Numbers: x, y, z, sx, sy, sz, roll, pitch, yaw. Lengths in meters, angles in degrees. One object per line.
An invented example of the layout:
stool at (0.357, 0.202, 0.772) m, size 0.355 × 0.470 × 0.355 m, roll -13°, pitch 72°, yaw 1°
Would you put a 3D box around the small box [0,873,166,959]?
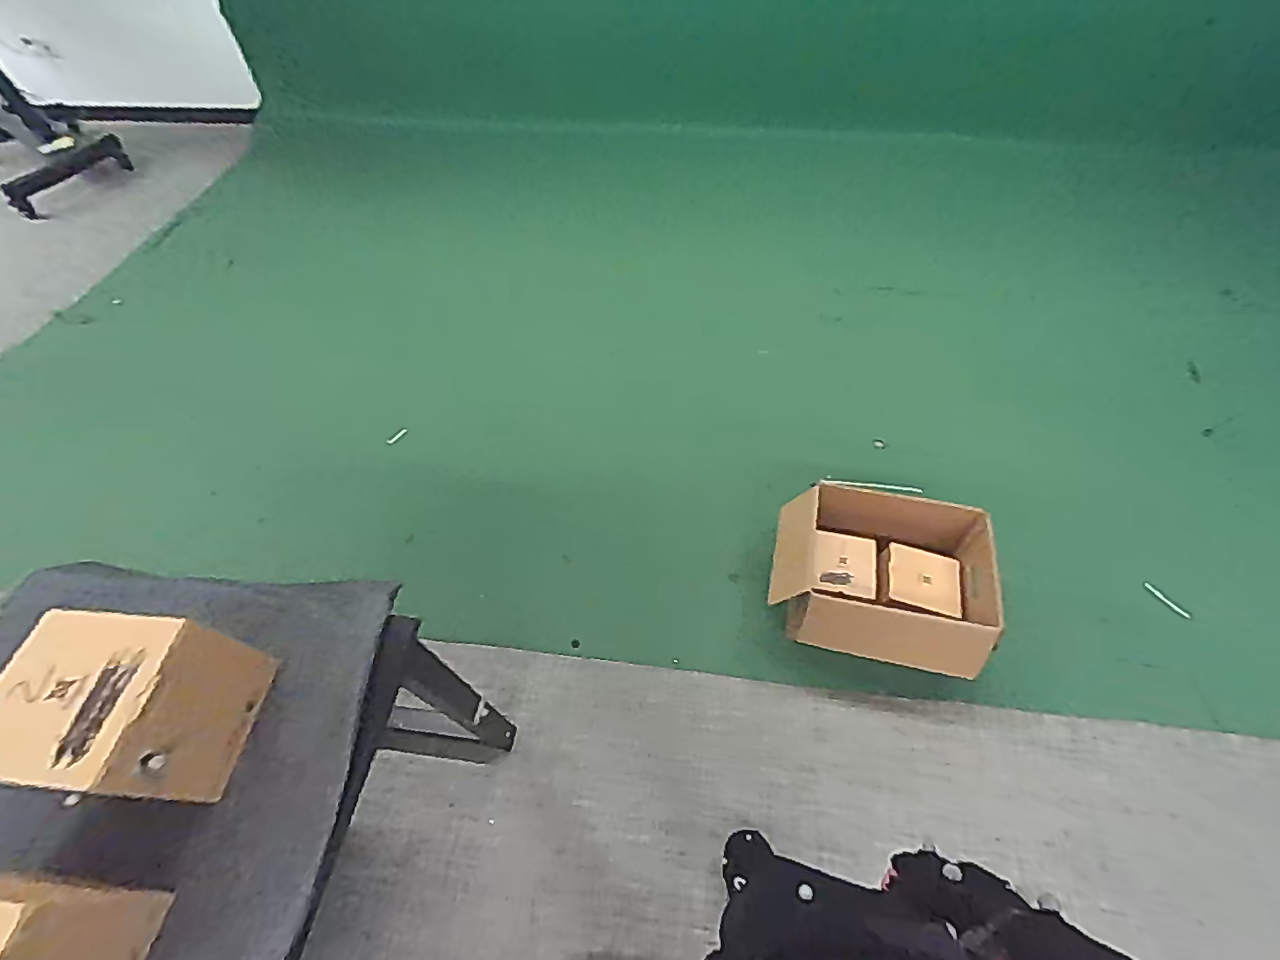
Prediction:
small box at (-0.598, 0.459, 0.477) m, size 0.179 × 0.176 × 0.168 m, roll 5°, pitch 56°, yaw 5°
